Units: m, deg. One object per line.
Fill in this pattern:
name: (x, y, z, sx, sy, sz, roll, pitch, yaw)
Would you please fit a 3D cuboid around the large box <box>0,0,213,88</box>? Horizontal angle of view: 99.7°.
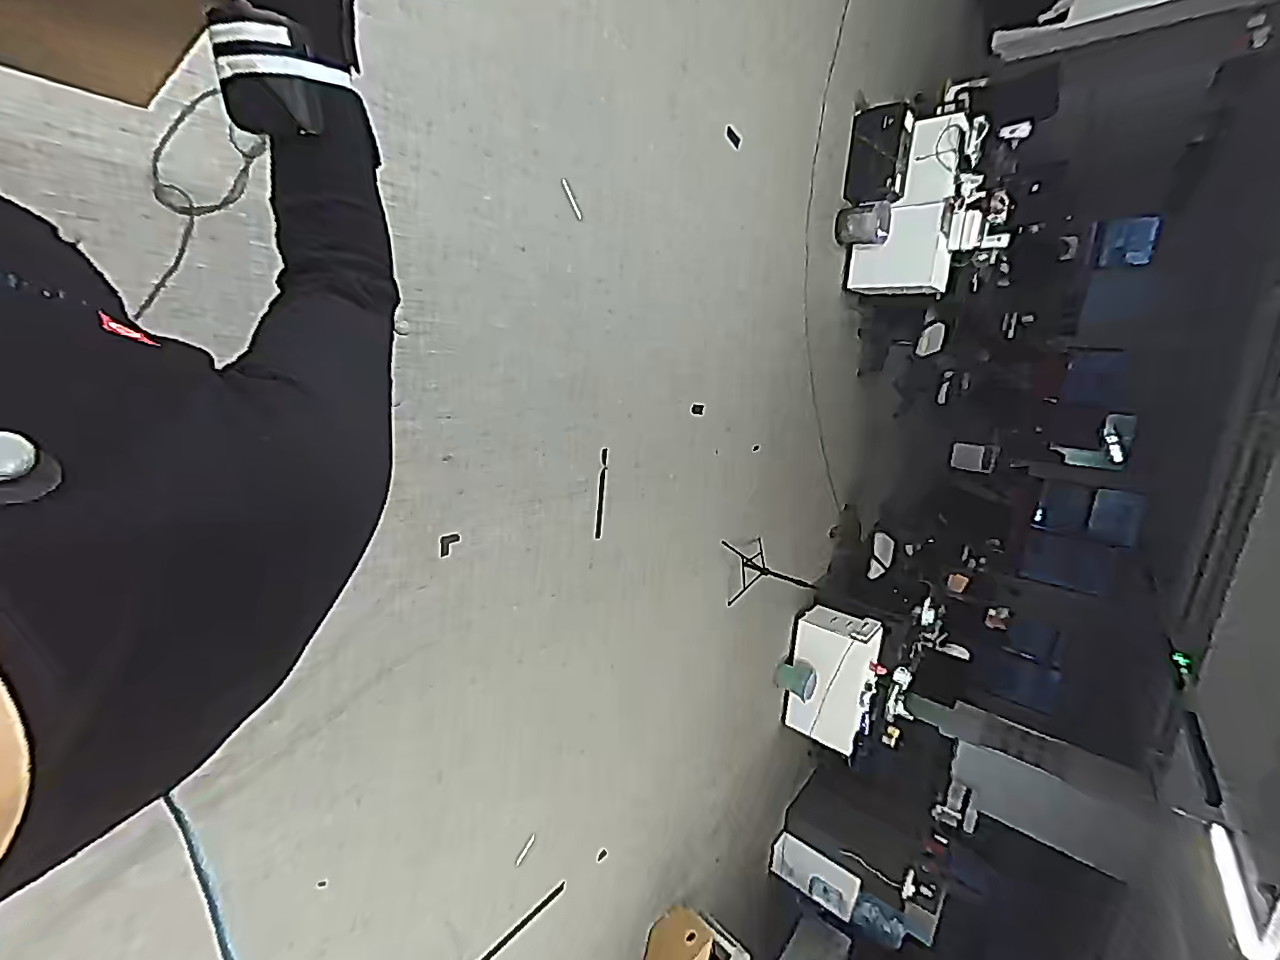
large box: (-0.479, -0.462, 0.244, 0.408, 0.320, 0.320, -11, 110, -49)
